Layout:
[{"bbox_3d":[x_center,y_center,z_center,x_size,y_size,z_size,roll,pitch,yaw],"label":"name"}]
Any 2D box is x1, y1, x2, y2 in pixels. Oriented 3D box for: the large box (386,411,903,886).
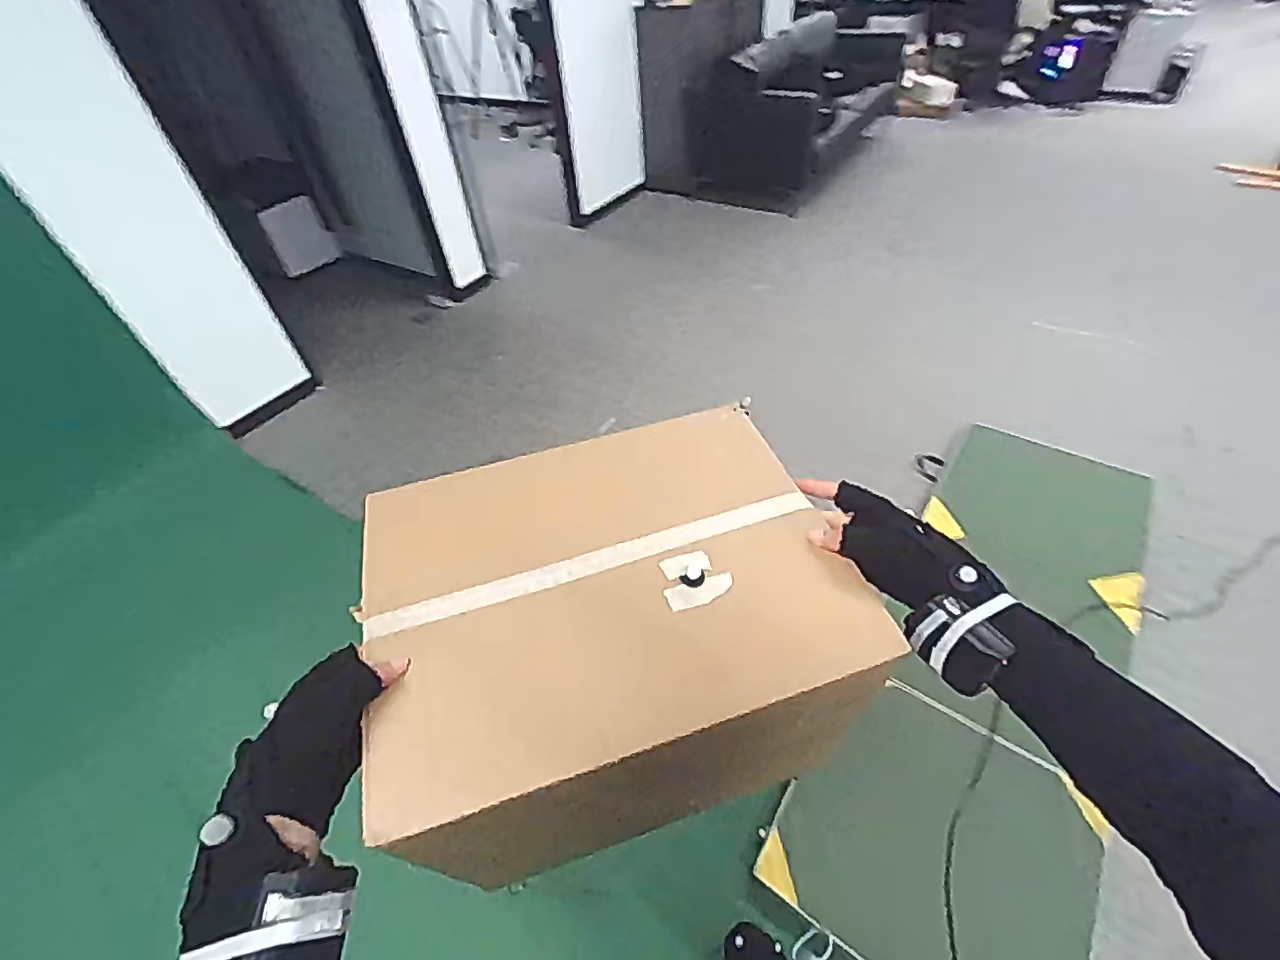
[{"bbox_3d":[-0.020,0.174,0.595,0.408,0.320,0.320,-14,49,-11],"label":"large box"}]
